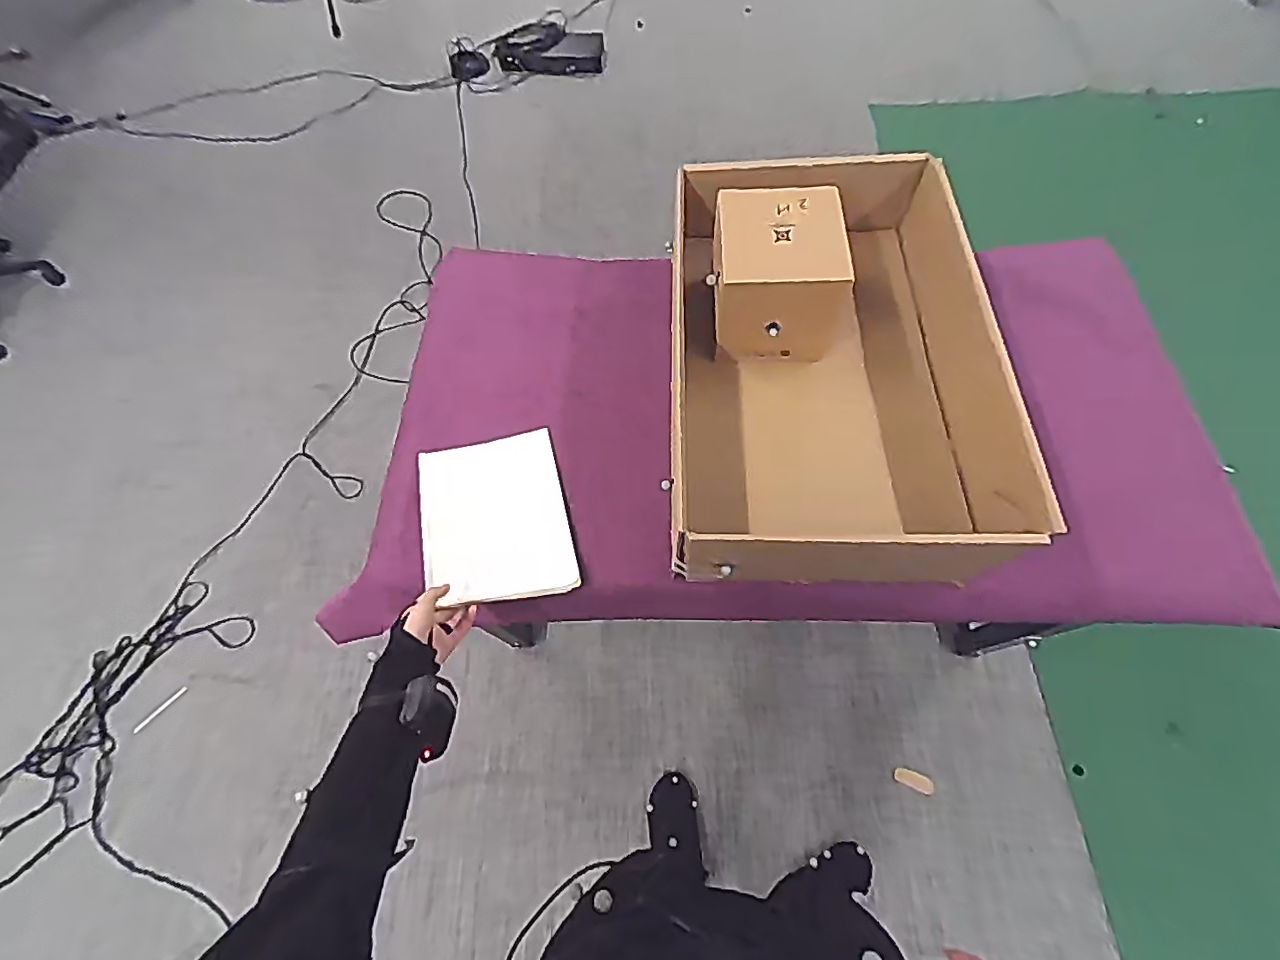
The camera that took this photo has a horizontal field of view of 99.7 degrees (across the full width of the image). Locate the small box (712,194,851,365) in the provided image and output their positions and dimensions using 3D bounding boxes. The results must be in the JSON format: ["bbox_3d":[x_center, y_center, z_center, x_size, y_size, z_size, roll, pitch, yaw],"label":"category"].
[{"bbox_3d":[0.195,-0.284,0.792,0.168,0.176,0.179,0,65,3],"label":"small box"}]
